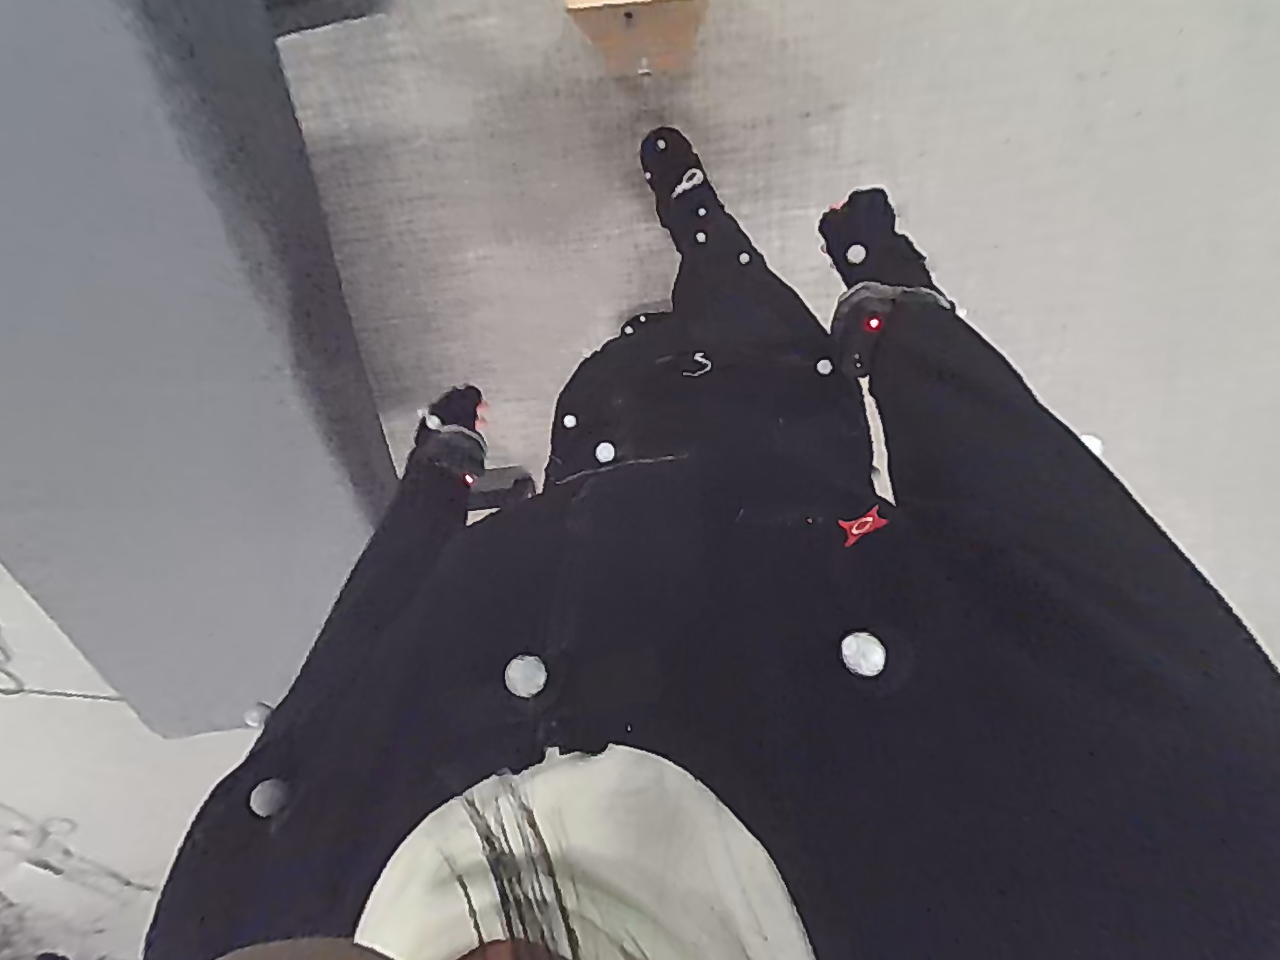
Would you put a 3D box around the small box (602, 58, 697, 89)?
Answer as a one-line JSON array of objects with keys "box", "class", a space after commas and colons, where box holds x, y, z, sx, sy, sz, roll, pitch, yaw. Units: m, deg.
[{"box": [0.016, -0.820, 0.964, 0.168, 0.176, 0.179, -1, 121, 6], "class": "small box"}]

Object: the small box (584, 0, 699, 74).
[{"box": [0.005, -0.743, 0.819, 0.168, 0.176, 0.179, -1, 120, 6], "class": "small box"}]
